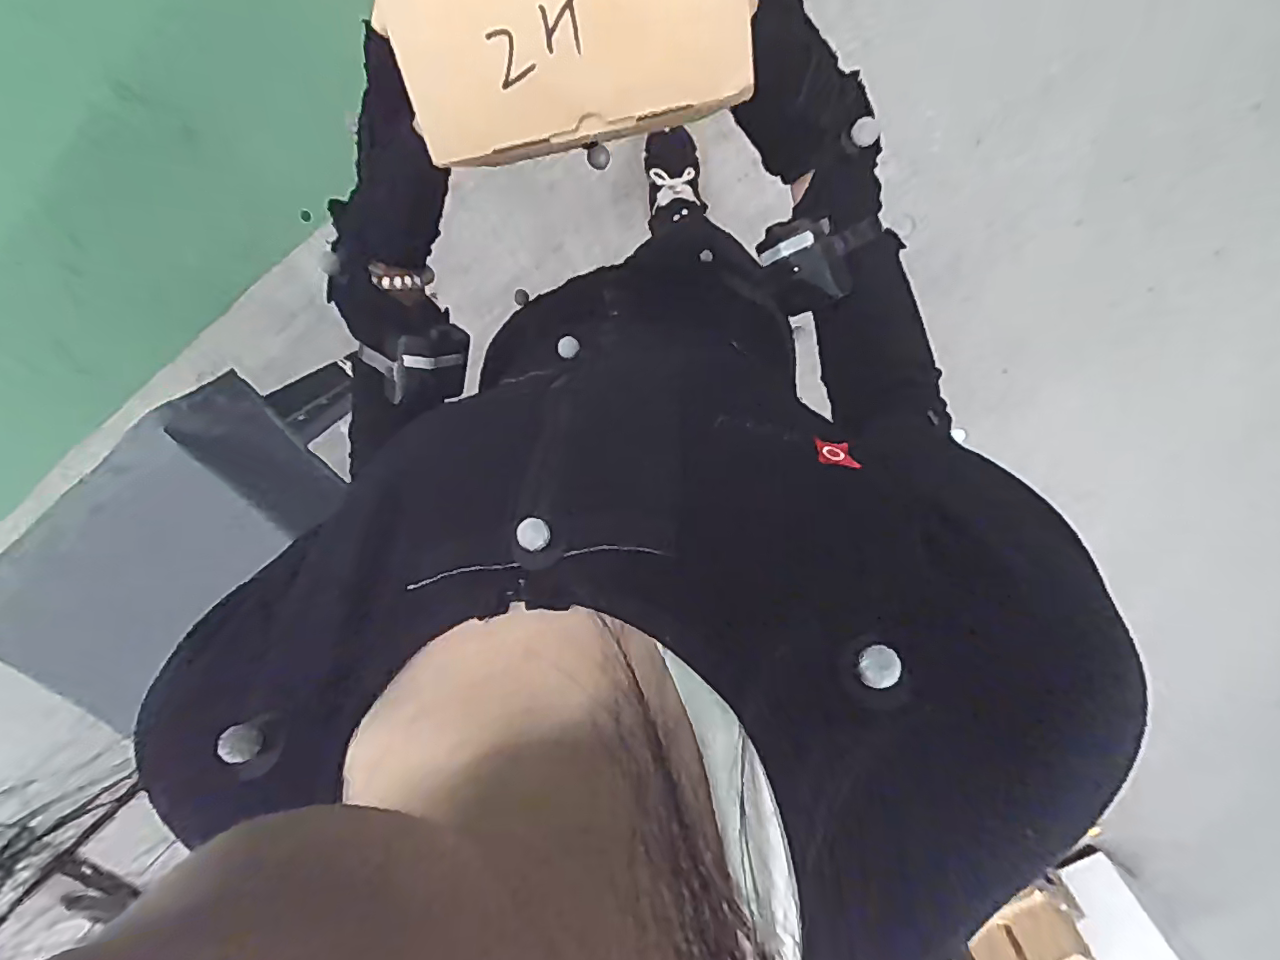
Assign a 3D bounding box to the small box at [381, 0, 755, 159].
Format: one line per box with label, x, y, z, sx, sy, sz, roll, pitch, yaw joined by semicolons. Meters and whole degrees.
small box;-0.045;-0.289;0.292;0.168;0.176;0.179;-12;121;4
